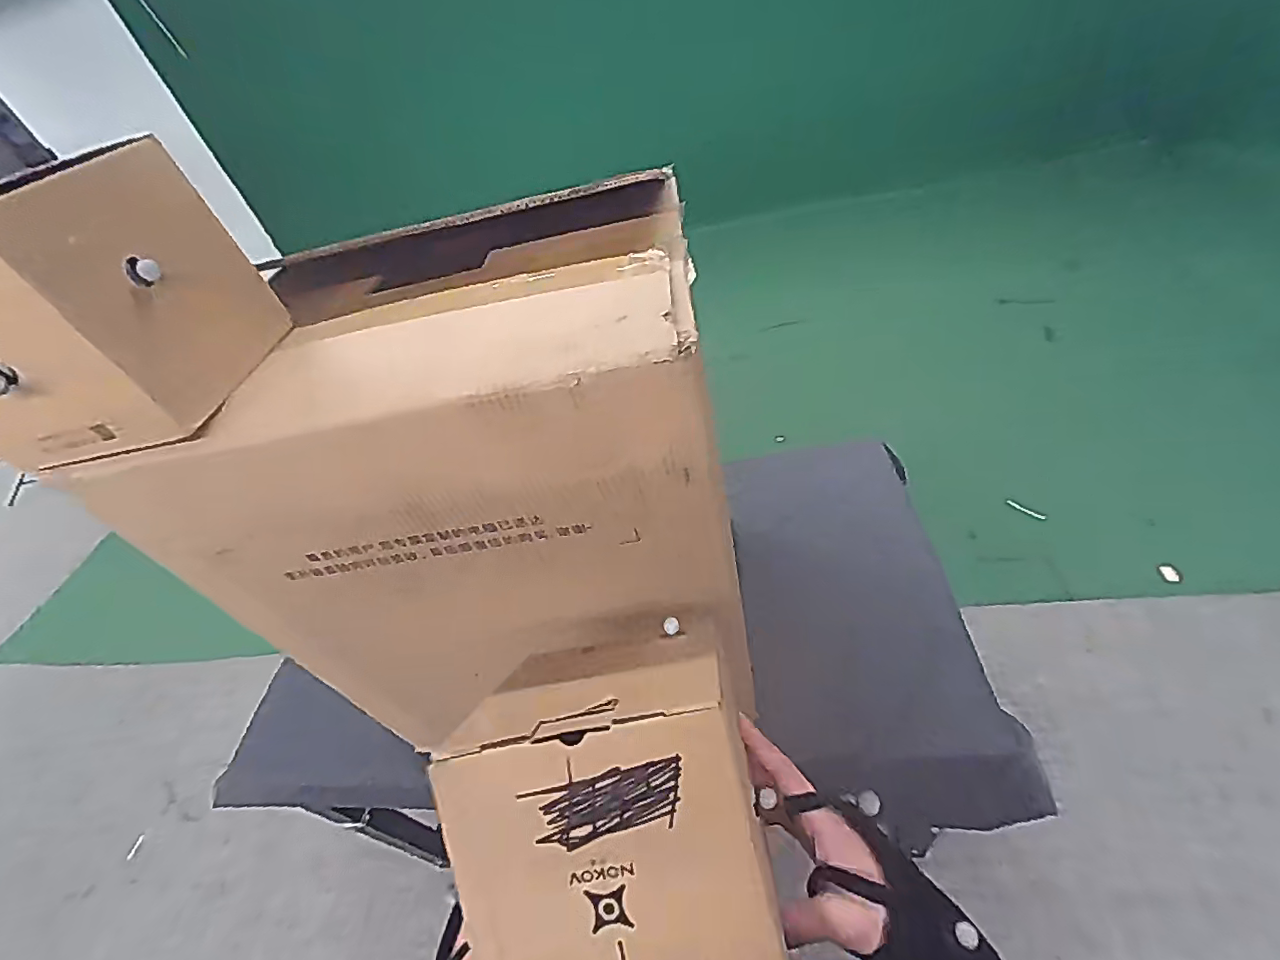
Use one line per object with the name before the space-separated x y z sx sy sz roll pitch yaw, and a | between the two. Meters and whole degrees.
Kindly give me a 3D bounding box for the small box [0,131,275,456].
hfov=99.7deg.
small box | -0.439 -0.134 0.422 0.168 0.176 0.179 -10 45 10
